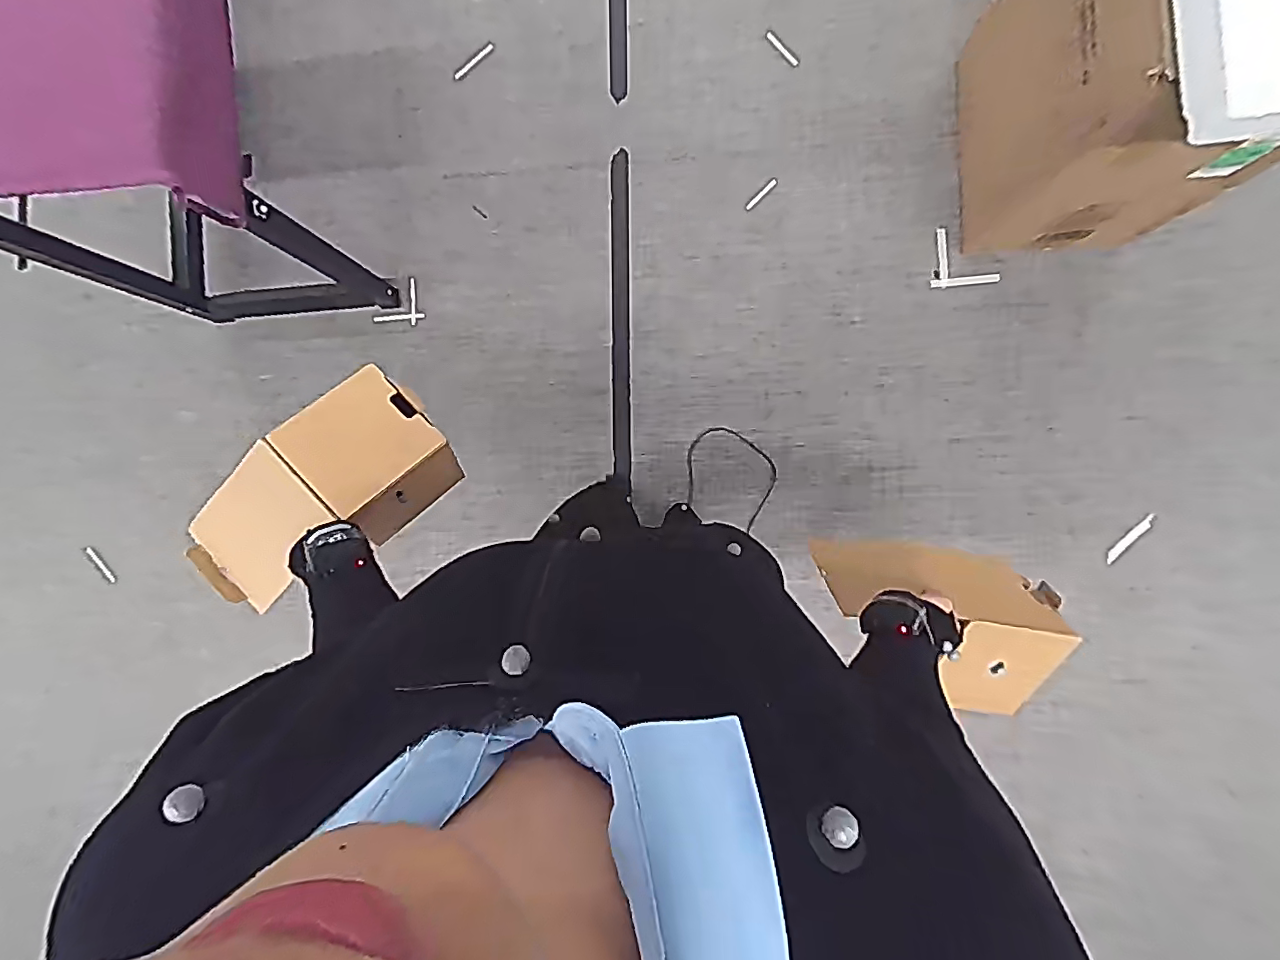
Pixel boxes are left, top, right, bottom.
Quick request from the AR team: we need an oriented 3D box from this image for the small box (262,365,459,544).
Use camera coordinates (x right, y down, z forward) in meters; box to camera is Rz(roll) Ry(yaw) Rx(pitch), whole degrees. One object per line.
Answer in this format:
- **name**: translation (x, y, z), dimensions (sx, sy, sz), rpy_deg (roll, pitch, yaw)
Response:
- **small box**: translation (-0.395, -0.028, 0.802), dimensions (0.168, 0.176, 0.179), rpy_deg (44, 70, 6)
